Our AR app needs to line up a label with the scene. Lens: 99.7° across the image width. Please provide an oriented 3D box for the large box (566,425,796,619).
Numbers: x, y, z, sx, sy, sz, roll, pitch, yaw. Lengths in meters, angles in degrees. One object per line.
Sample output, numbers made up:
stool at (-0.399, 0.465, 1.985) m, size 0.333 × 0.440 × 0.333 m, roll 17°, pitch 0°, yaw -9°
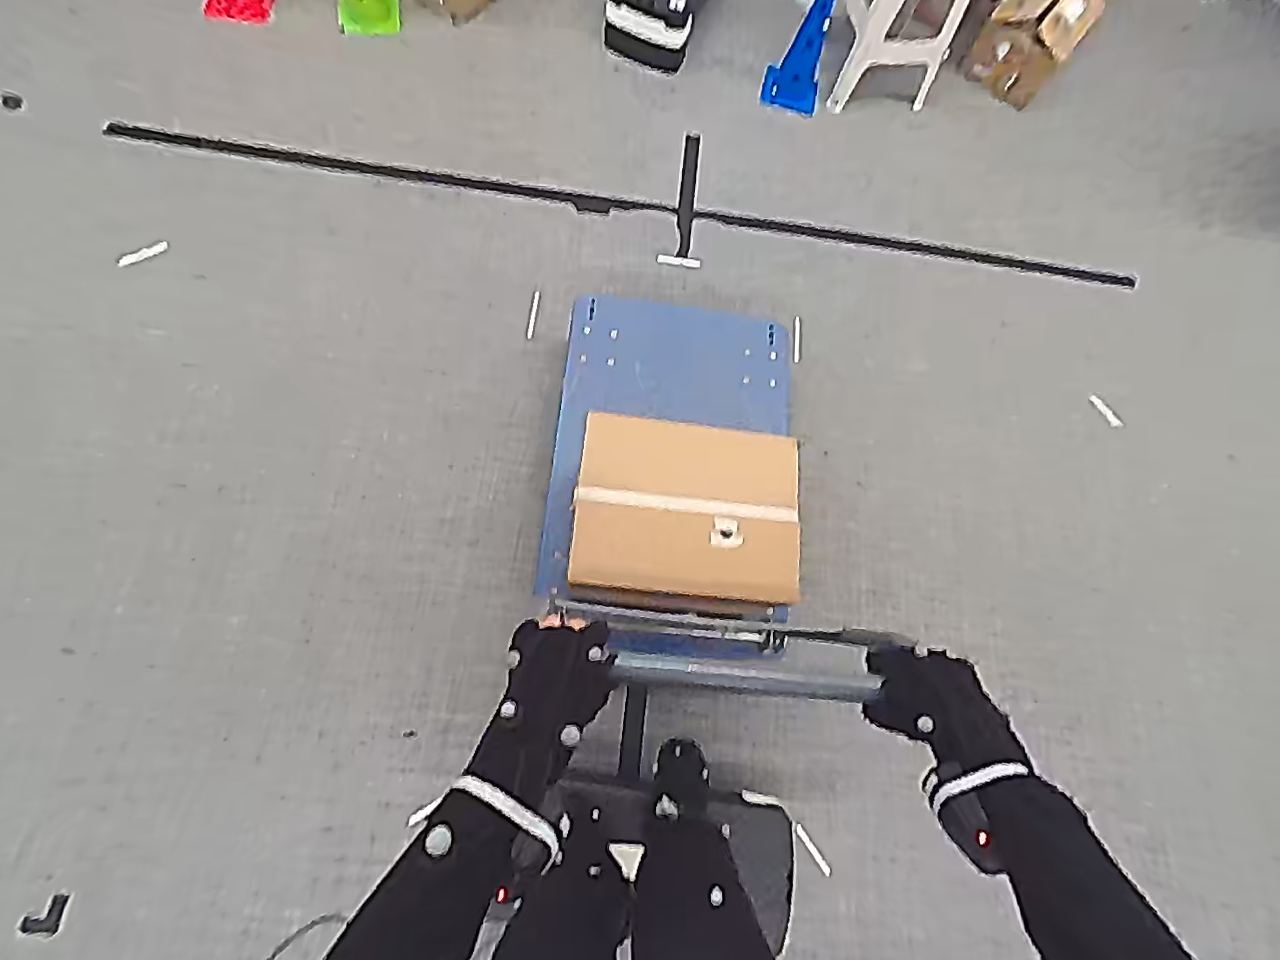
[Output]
large box at (0.063, 0.106, 1.101) m, size 0.408 × 0.320 × 0.320 m, roll 7°, pitch 73°, yaw -6°
